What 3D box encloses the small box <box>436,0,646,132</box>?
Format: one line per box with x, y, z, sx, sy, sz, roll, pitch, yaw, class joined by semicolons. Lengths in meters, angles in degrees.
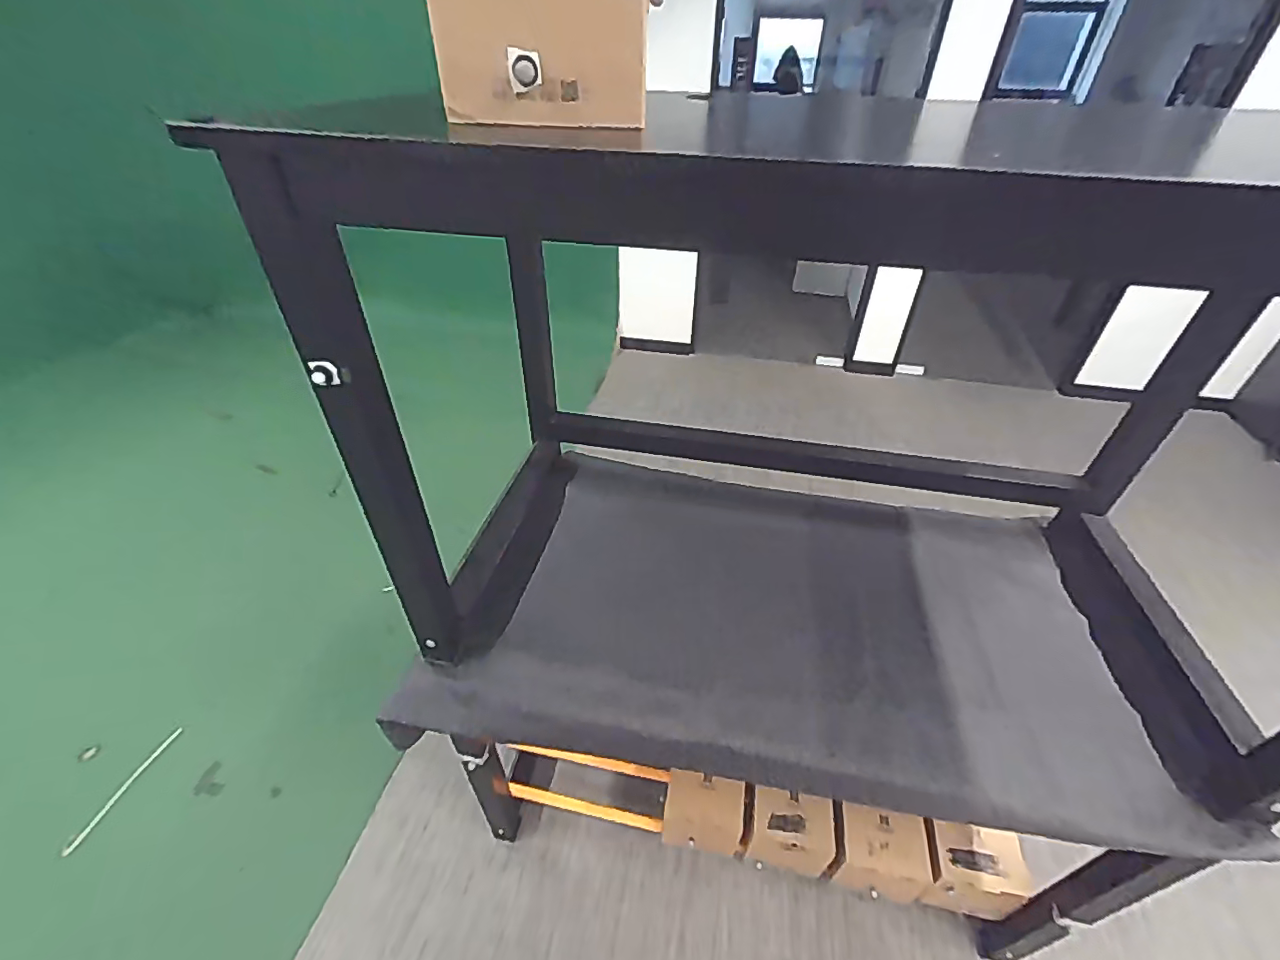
-0.078;-0.415;0.471;0.168;0.176;0.179;0;39;0;small box
